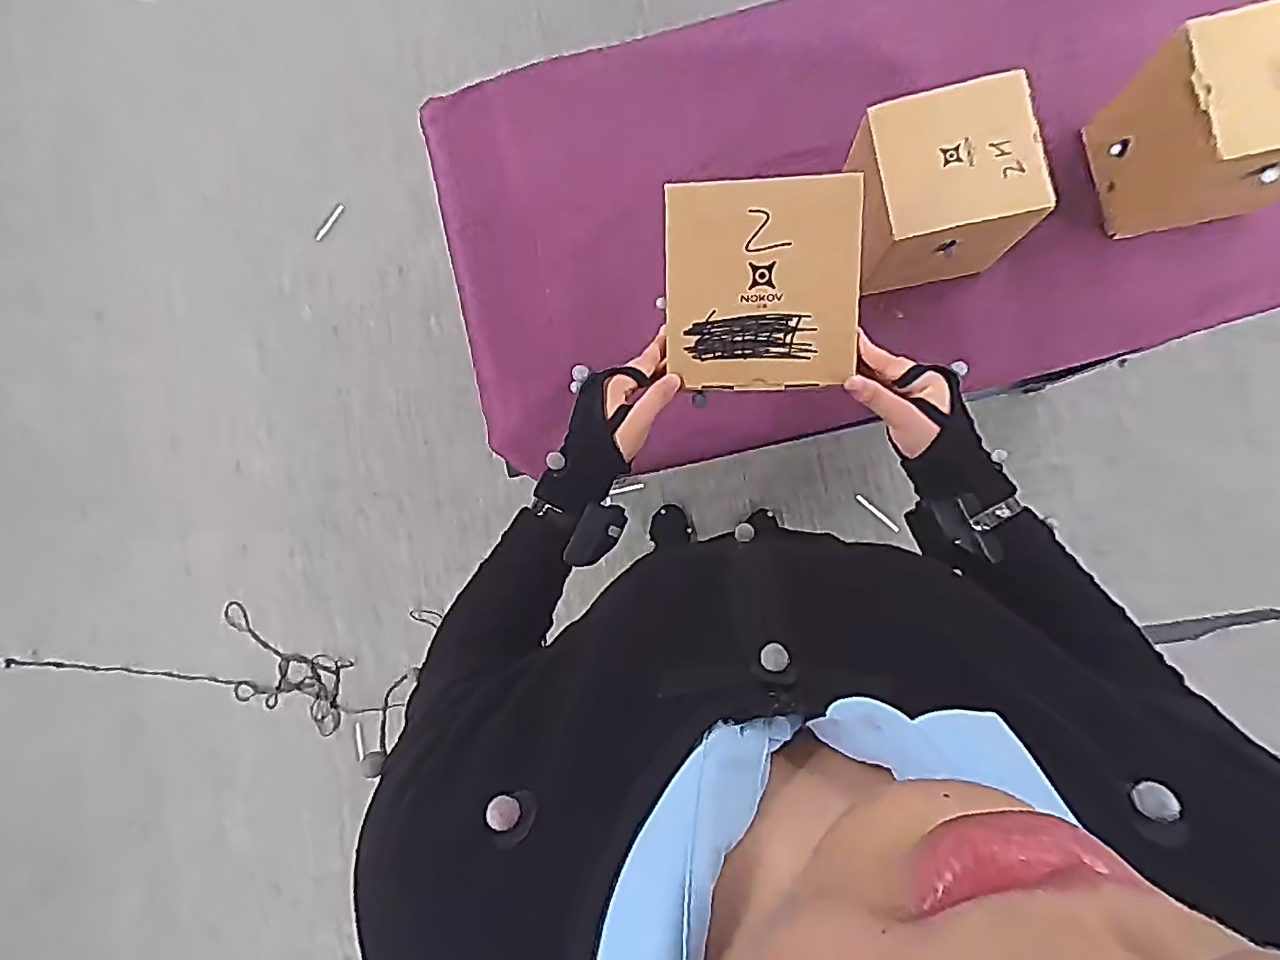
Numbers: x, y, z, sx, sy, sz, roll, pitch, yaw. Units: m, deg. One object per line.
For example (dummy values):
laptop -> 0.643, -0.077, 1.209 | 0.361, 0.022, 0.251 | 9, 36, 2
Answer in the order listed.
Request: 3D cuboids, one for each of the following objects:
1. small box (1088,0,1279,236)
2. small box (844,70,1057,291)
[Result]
small box -> 0.698, -0.424, 0.646 | 0.179, 0.176, 0.168 | -9, 85, 8
small box -> 0.371, -0.360, 0.686 | 0.179, 0.176, 0.168 | -10, 86, 7
